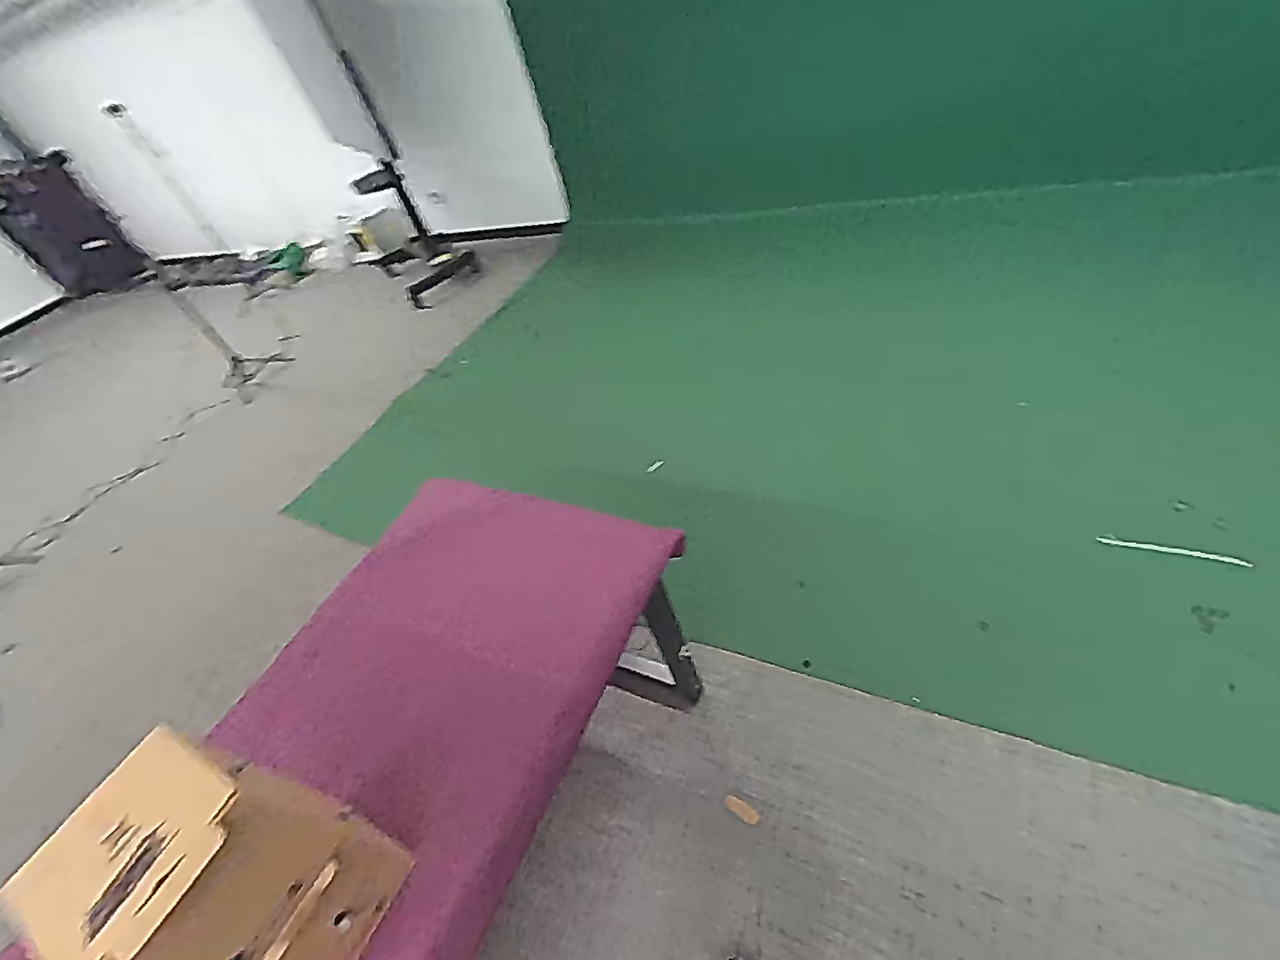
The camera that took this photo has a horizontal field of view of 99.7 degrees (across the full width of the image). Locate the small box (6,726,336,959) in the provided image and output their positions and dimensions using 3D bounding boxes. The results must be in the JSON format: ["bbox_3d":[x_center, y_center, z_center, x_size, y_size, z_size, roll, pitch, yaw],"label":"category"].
[{"bbox_3d":[-0.471,0.397,0.570,0.179,0.176,0.168,10,50,29],"label":"small box"}]

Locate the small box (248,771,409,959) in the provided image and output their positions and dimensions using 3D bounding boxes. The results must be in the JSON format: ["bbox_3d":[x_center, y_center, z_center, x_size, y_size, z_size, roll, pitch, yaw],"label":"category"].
[{"bbox_3d":[-0.437,0.509,0.687,0.179,0.176,0.168,11,51,27],"label":"small box"}]
